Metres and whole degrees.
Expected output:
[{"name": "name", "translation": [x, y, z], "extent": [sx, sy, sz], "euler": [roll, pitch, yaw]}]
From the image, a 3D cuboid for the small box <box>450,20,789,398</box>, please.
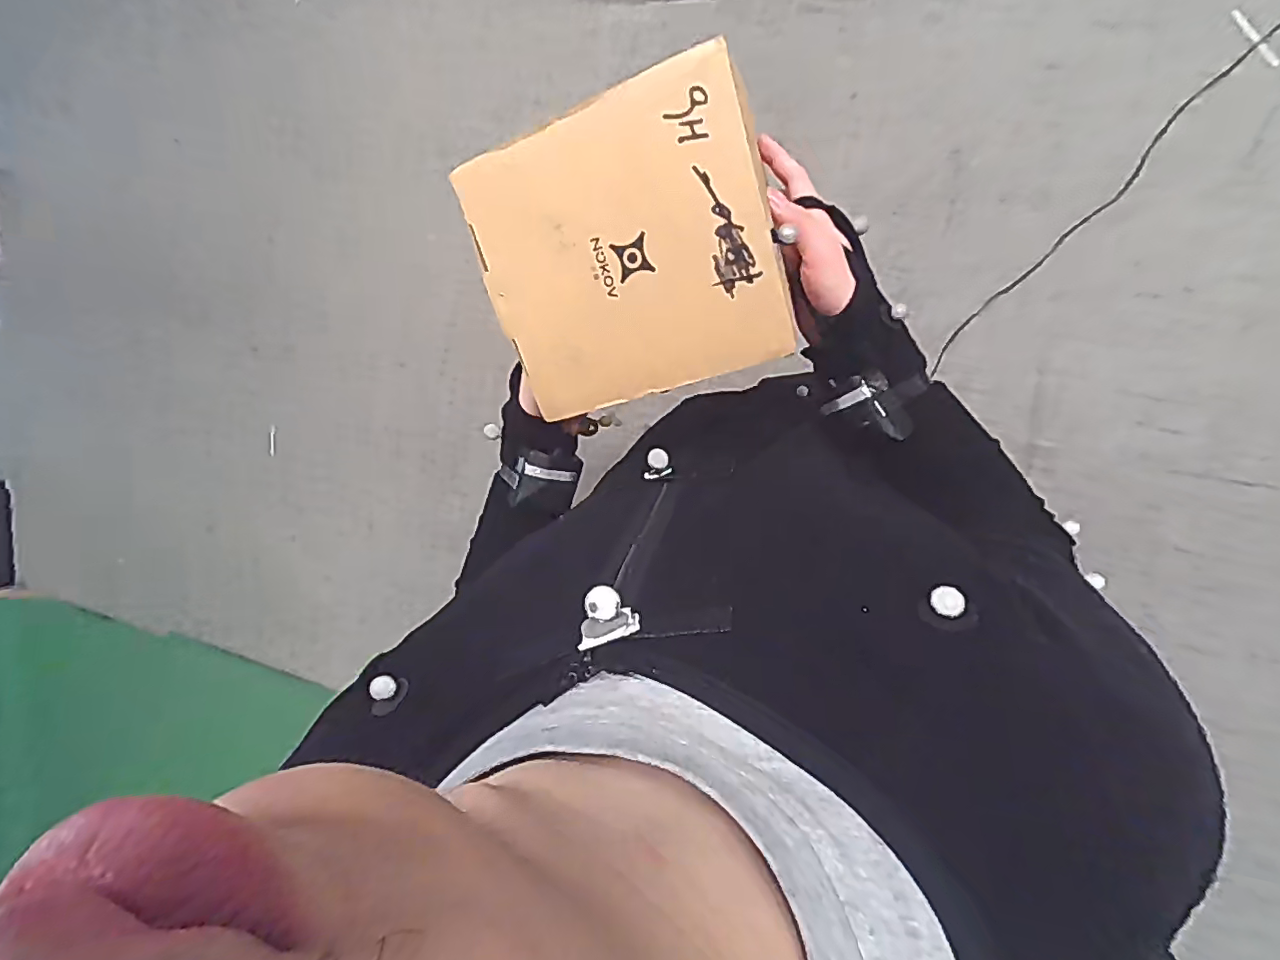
[{"name": "small box", "translation": [0.006, -0.173, 0.393], "extent": [0.179, 0.176, 0.168], "euler": [-10, 110, 20]}]
